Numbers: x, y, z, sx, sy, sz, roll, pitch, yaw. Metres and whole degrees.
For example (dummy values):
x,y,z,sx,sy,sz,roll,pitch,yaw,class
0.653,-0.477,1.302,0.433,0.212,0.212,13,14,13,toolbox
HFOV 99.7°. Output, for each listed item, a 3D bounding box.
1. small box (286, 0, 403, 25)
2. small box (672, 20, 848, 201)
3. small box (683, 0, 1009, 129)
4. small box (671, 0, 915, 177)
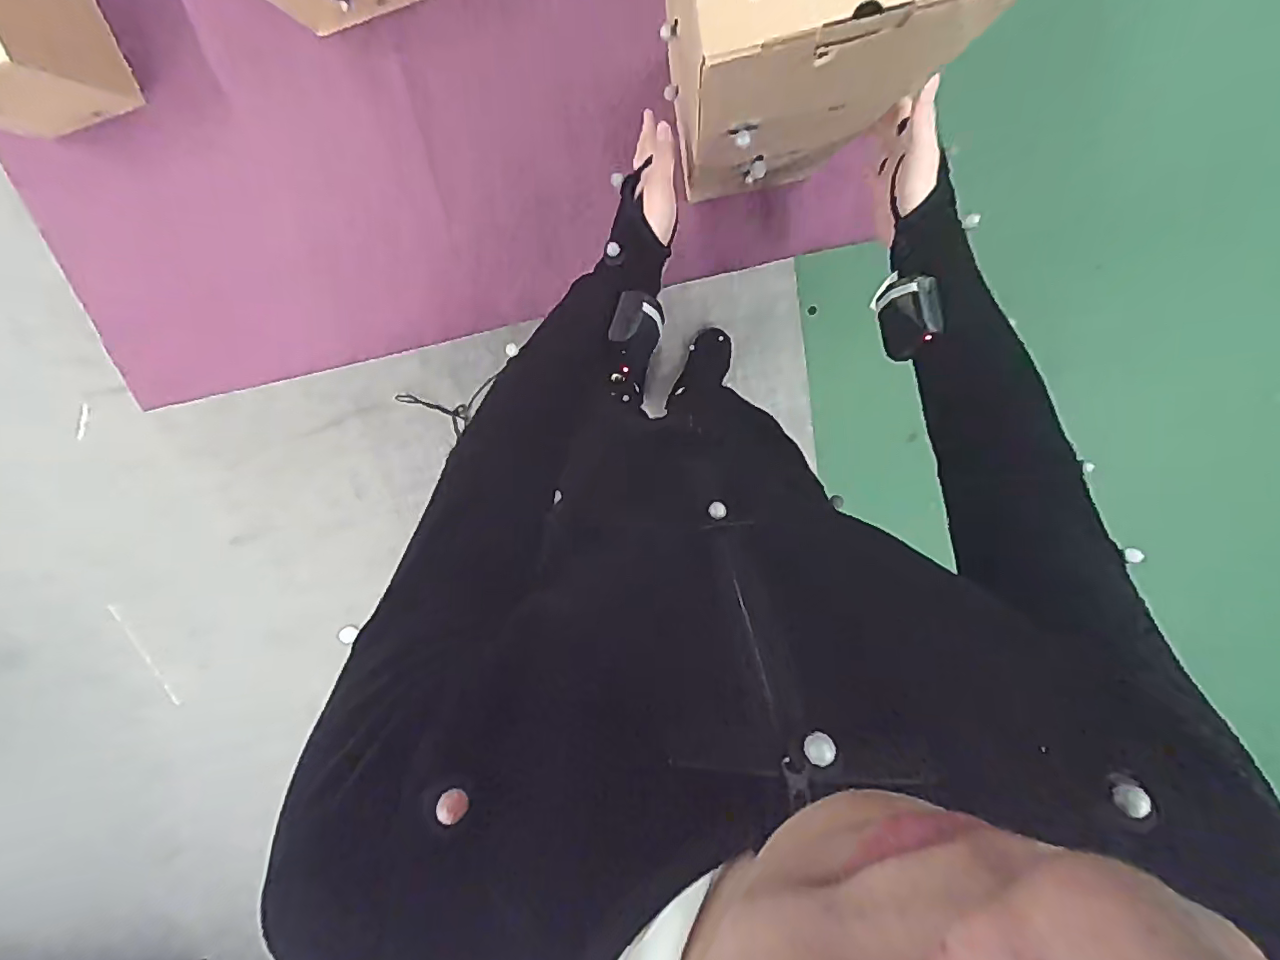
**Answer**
x,y,z,sx,sy,sz,roll,pitch,yaw,class
-0.356,-0.636,0.567,0.168,0.176,0.179,-13,111,7,small box
0.128,-0.440,0.618,0.168,0.176,0.179,-8,110,7,small box
0.107,-0.328,0.309,0.168,0.176,0.179,-9,107,8,small box
0.117,-0.385,0.463,0.168,0.176,0.179,-8,109,7,small box
